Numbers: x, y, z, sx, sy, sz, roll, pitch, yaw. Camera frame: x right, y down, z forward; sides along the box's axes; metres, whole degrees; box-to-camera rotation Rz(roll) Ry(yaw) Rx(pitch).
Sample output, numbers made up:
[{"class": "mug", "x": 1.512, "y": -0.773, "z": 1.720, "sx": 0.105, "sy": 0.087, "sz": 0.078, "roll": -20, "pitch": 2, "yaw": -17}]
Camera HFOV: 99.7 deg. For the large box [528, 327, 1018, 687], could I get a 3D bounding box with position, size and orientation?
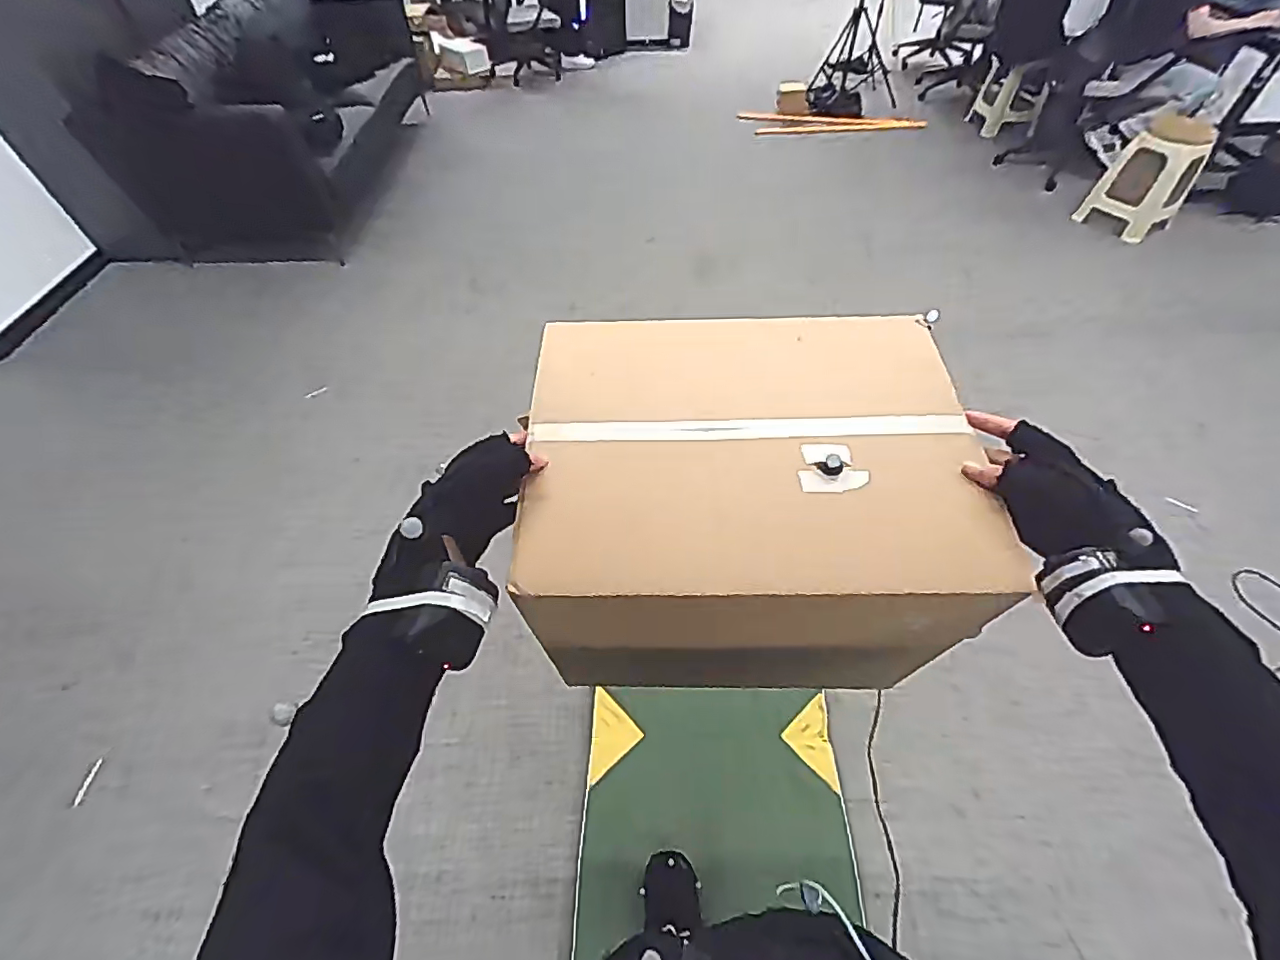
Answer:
[{"class": "large box", "x": 0.106, "y": 0.045, "z": 0.637, "sx": 0.408, "sy": 0.320, "sz": 0.320, "roll": -1, "pitch": 57, "yaw": 1}]
